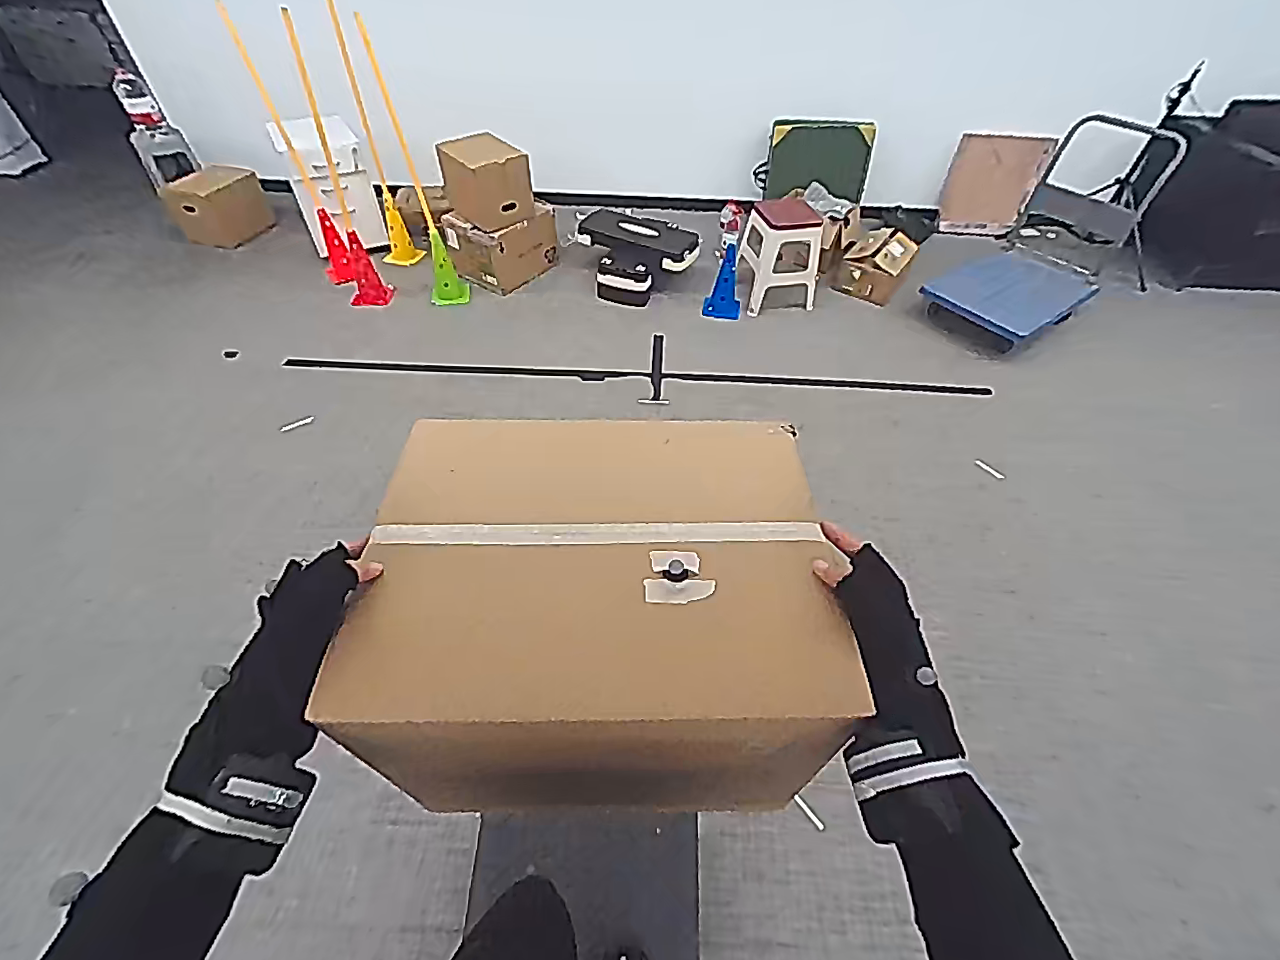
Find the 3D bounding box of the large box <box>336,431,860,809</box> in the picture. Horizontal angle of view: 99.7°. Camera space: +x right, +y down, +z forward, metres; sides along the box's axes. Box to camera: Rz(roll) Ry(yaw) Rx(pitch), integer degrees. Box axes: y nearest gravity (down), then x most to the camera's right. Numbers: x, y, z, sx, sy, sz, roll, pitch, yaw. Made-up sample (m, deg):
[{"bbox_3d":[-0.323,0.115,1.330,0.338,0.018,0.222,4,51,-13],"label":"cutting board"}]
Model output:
[{"bbox_3d":[-0.036,0.159,0.612,0.408,0.320,0.320,0,48,-1],"label":"large box"}]
